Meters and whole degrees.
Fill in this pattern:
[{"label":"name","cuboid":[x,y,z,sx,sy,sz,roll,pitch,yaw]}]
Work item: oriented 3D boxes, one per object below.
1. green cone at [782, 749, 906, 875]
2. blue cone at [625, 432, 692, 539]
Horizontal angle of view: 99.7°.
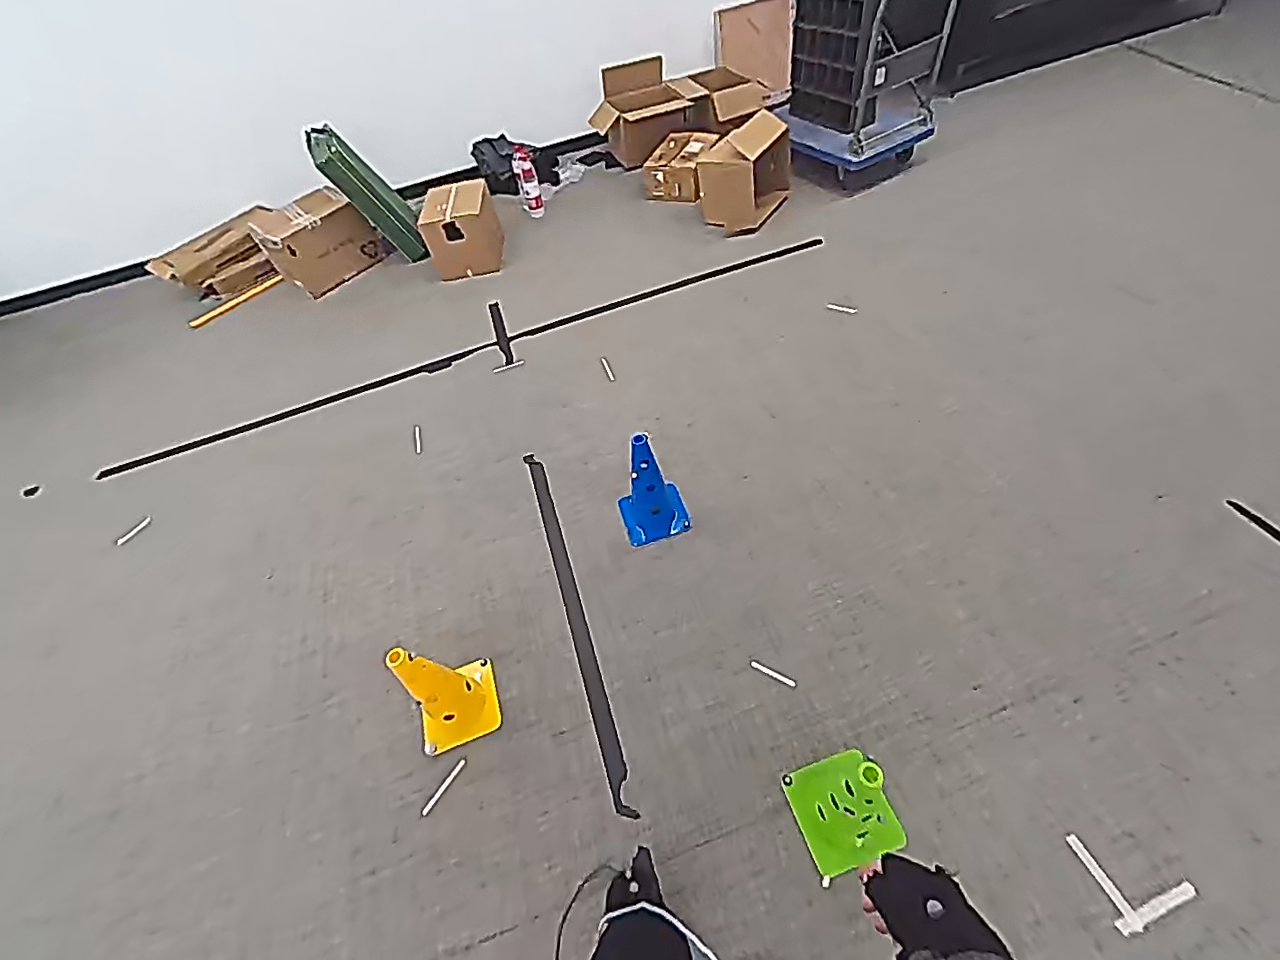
[{"label":"green cone","cuboid":[0.415,0.605,1.039,0.202,0.368,0.200,-18,51,-6]},{"label":"blue cone","cuboid":[0.035,-0.001,1.617,0.192,0.380,0.193,-15,51,-4]}]
